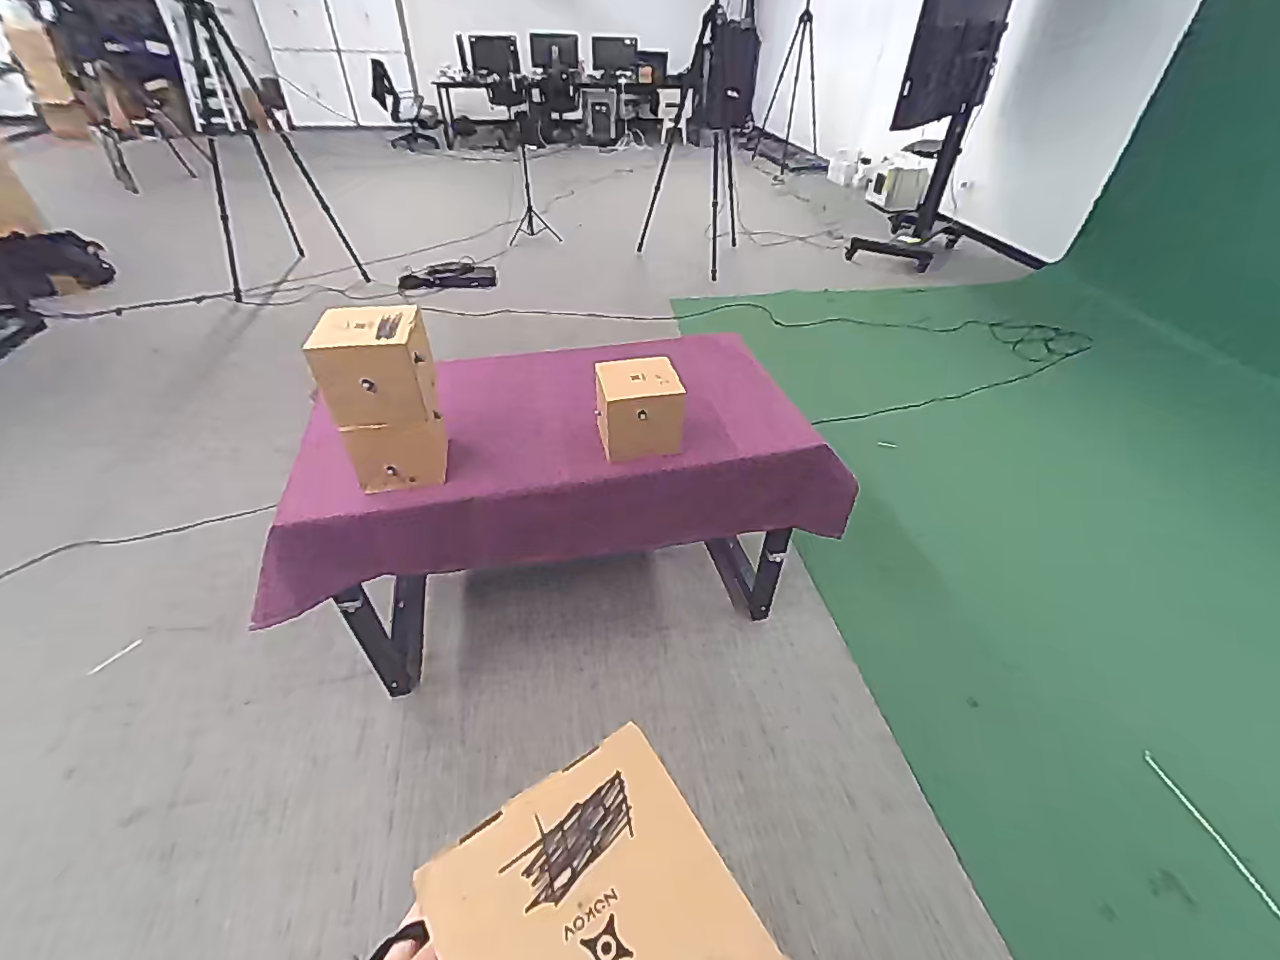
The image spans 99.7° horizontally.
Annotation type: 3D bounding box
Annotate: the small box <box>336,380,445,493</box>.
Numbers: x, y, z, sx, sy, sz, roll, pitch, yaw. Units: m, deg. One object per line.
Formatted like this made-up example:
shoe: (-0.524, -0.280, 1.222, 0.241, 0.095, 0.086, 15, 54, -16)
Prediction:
small box: (-0.521, -0.094, 1.155, 0.168, 0.176, 0.179, -7, 42, -11)

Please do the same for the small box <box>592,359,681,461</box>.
small box: (-0.011, -0.159, 1.246, 0.179, 0.176, 0.168, -7, 42, -10)
